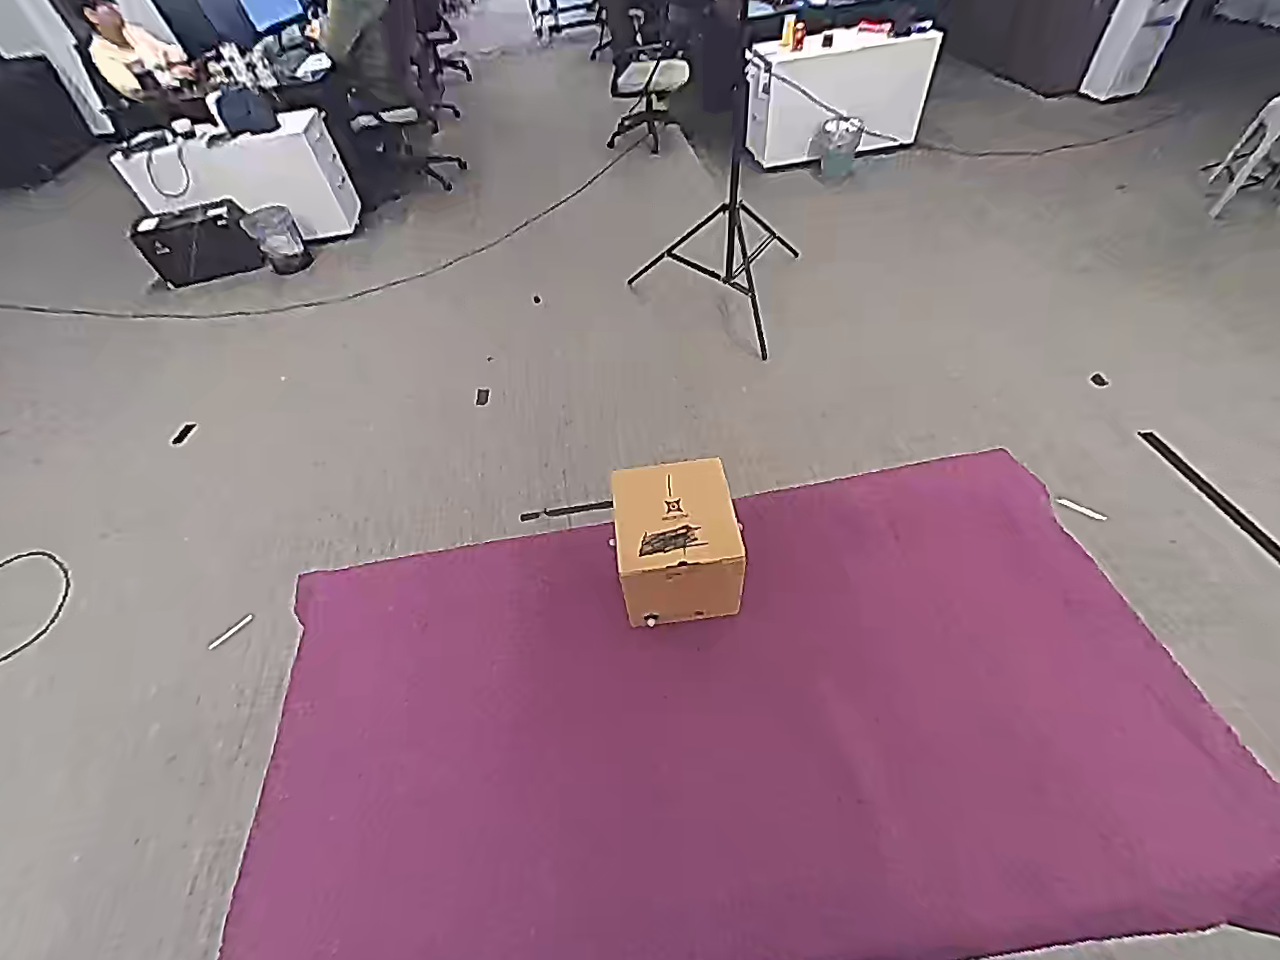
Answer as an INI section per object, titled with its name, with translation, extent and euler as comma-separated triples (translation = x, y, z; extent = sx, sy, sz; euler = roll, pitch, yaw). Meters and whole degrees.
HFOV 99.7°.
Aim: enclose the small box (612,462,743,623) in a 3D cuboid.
[small box]
translation = 0.053, 0.100, 0.806
extent = 0.168, 0.176, 0.179
euler = -7, 50, 0
